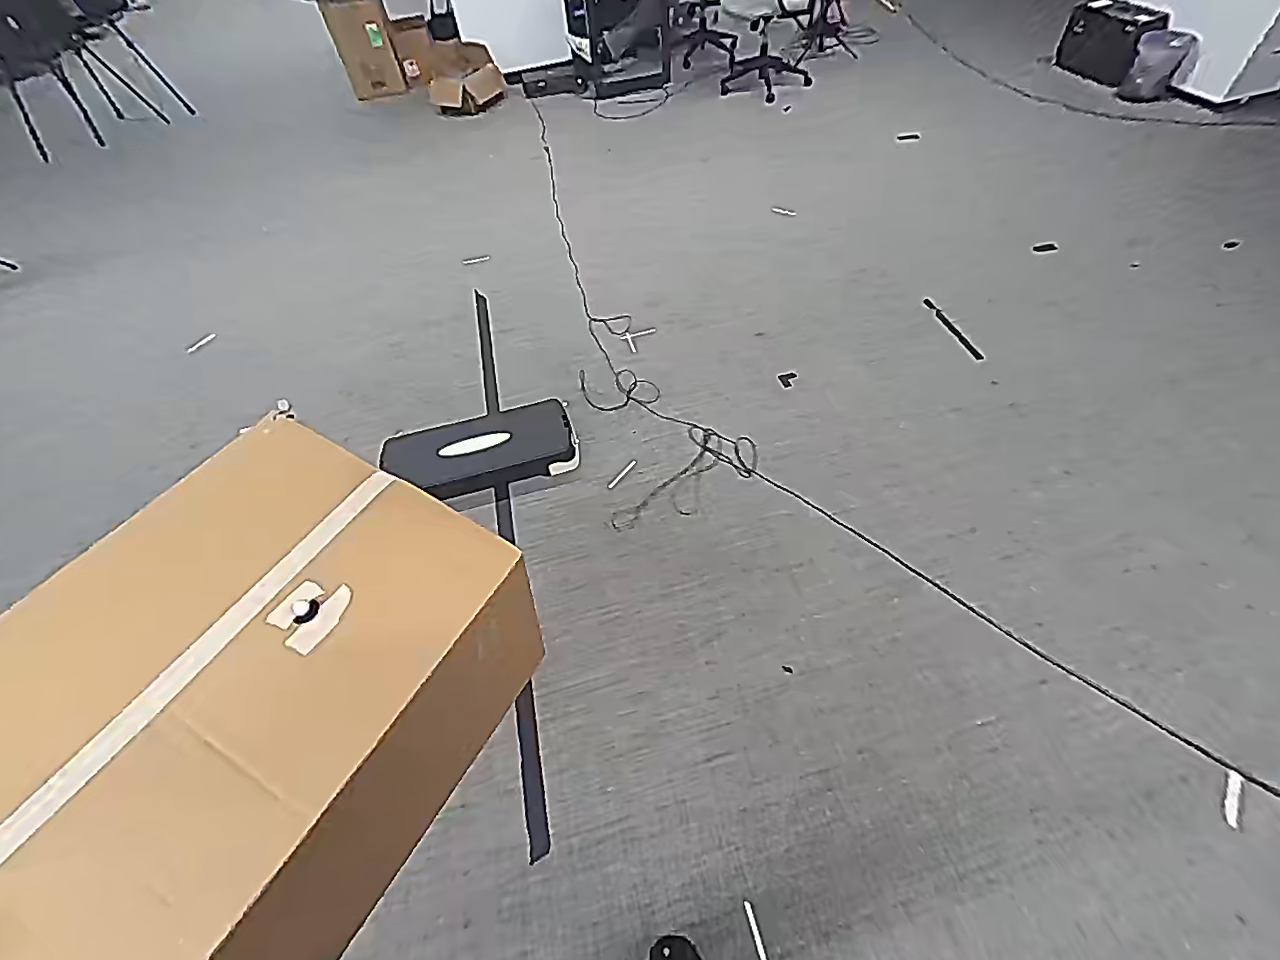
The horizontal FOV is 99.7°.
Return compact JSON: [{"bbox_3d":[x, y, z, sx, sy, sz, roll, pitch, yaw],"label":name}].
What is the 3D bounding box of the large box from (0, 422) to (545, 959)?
[{"bbox_3d":[-0.344,0.225,0.559,0.320,0.320,0.408,27,57,13],"label":"large box"}]
